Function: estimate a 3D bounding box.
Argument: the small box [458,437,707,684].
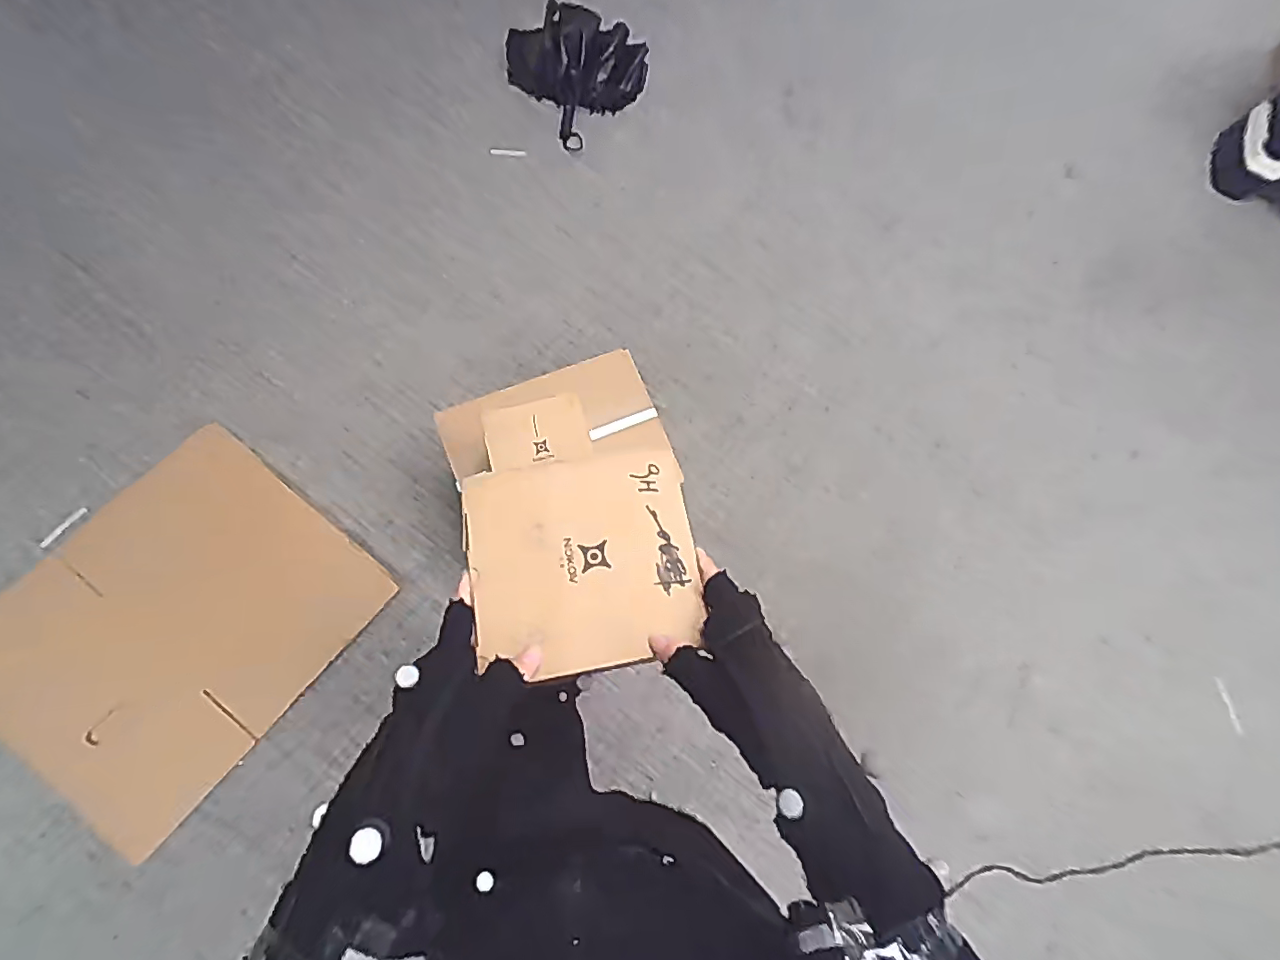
[{"bbox_3d":[-0.052,0.084,0.503,0.179,0.176,0.168,-12,68,-8],"label":"small box"}]

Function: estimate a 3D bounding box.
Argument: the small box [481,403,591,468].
[{"bbox_3d":[-0.164,-0.009,0.942,0.168,0.176,0.179,-15,77,-11],"label":"small box"}]
